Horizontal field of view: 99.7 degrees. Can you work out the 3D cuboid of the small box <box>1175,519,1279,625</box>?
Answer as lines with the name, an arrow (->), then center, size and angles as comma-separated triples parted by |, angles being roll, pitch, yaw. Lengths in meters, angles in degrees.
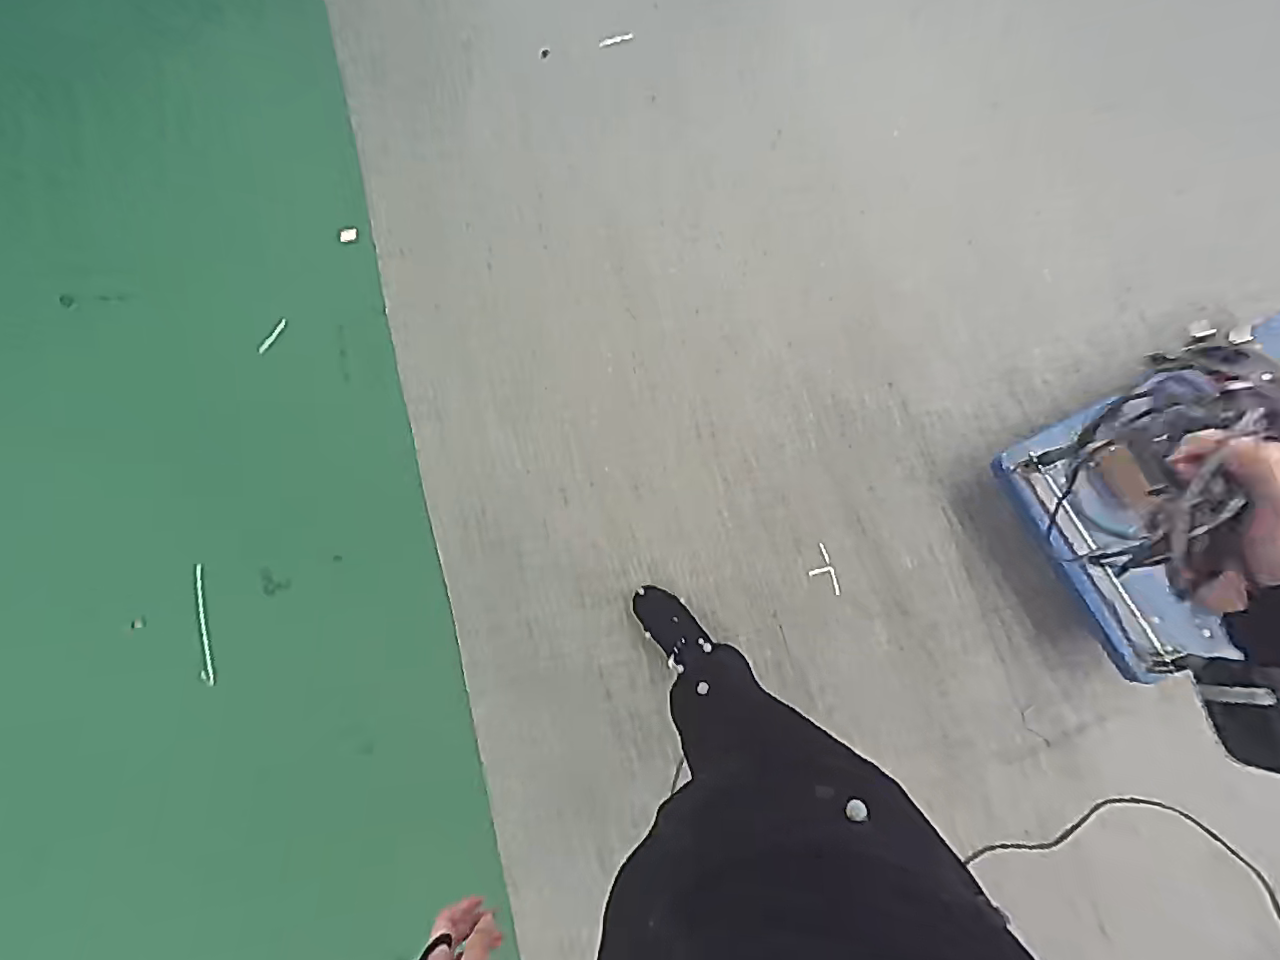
small box -> 1.290, 0.184, 1.114 | 0.179, 0.176, 0.168 | -24, 79, -1

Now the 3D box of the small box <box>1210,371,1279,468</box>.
small box -> 1.406, -0.143, 1.164 | 0.179, 0.176, 0.168 | -29, 80, -2
